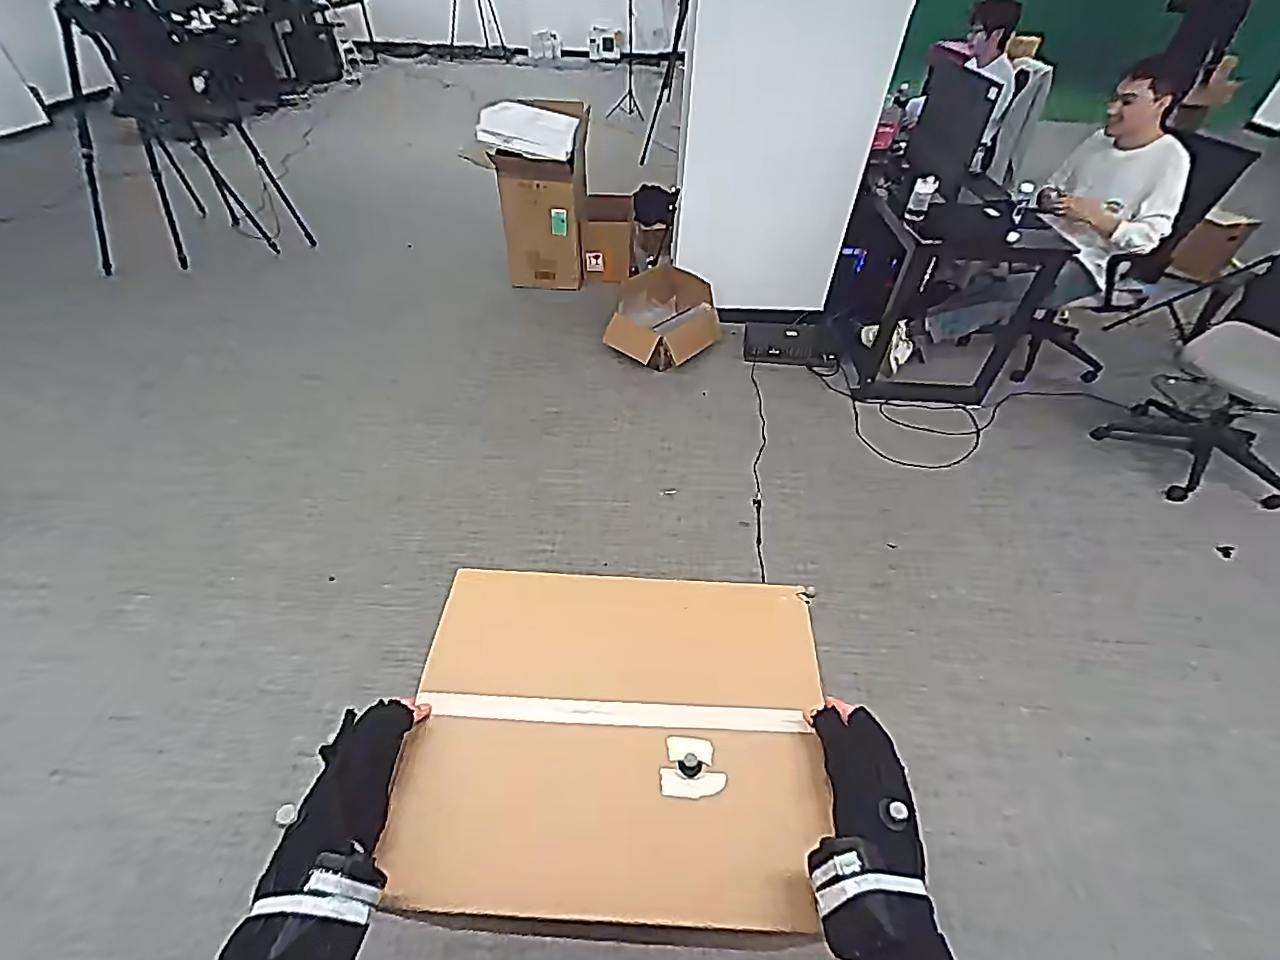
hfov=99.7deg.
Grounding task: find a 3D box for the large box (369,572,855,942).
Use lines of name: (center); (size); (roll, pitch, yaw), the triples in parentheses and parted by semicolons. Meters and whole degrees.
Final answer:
large box: (-0.023, 0.331, 0.643); (0.408, 0.320, 0.320); (3, 48, 1)
